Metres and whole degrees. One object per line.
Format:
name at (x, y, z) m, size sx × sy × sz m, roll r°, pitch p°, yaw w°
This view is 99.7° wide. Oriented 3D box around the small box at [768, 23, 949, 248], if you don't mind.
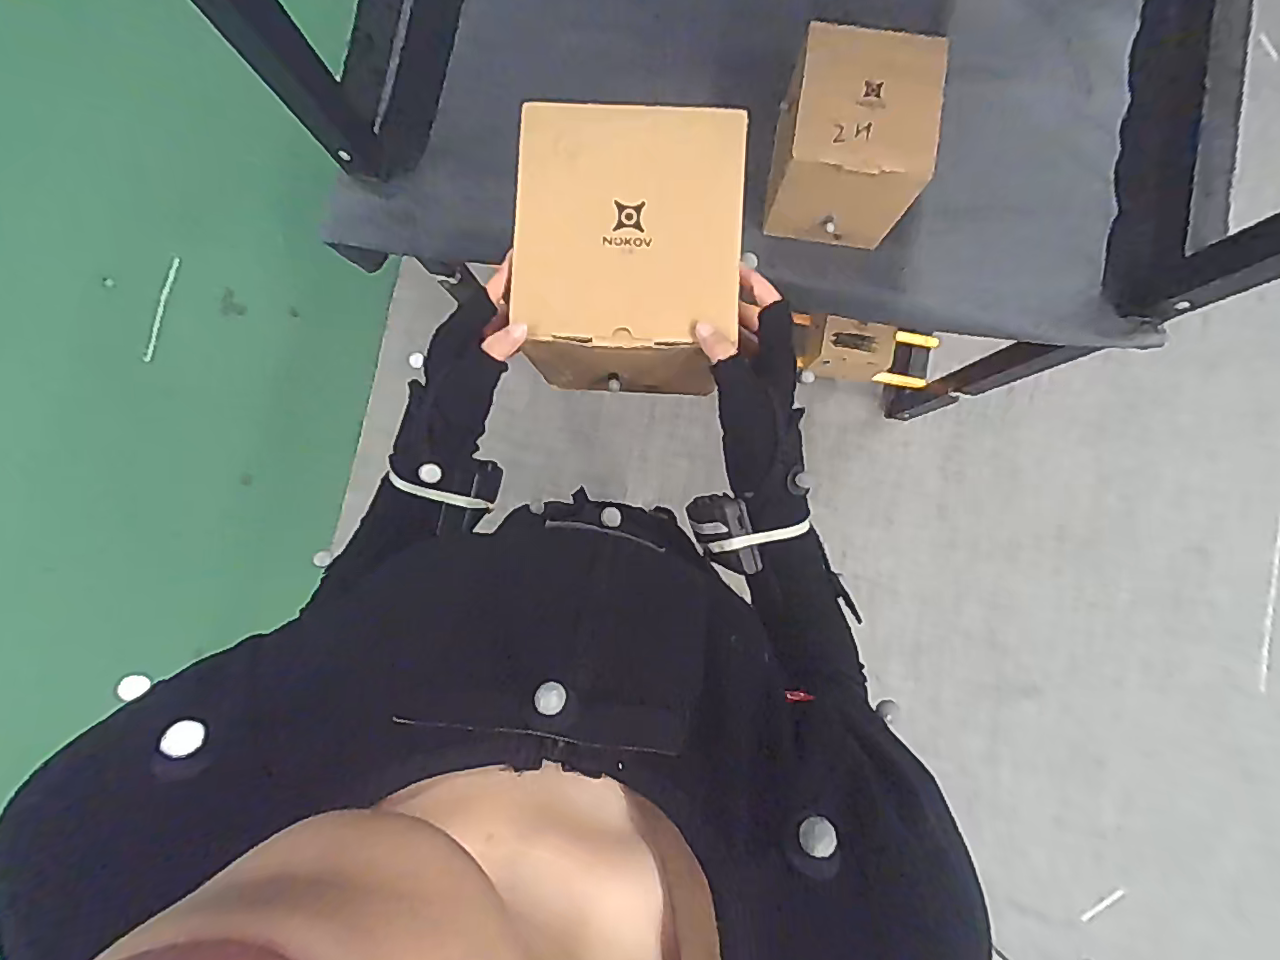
small box at (0.275, -0.441, 0.714) m, size 0.168 × 0.176 × 0.179 m, roll 9°, pitch 85°, yaw 2°
